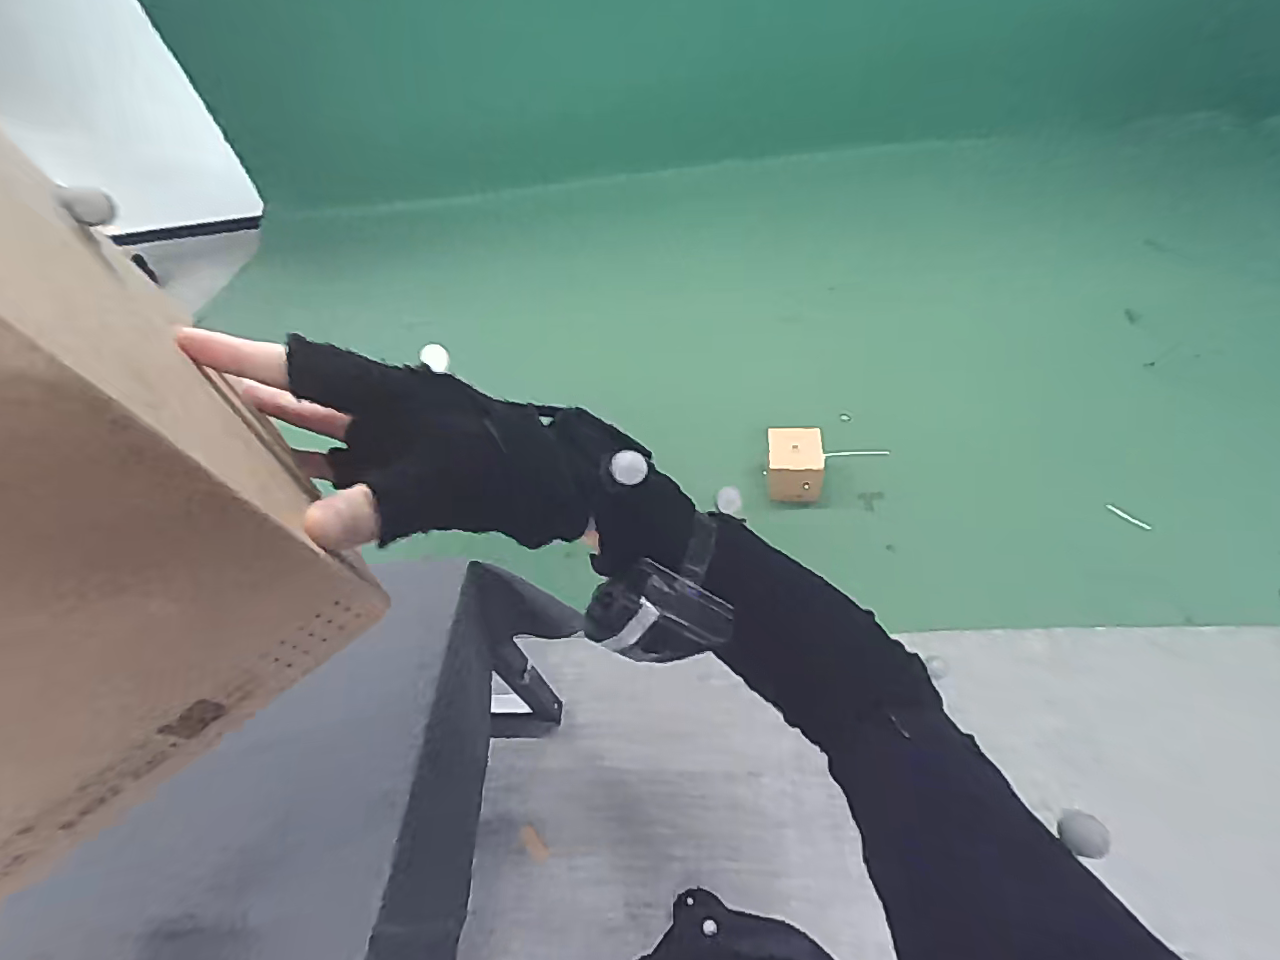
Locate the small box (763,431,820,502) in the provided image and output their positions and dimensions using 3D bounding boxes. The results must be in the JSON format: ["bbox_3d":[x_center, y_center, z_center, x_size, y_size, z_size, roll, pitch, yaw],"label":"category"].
[{"bbox_3d":[0.497,-0.041,1.782,0.168,0.176,0.179,1,51,10],"label":"small box"}]
